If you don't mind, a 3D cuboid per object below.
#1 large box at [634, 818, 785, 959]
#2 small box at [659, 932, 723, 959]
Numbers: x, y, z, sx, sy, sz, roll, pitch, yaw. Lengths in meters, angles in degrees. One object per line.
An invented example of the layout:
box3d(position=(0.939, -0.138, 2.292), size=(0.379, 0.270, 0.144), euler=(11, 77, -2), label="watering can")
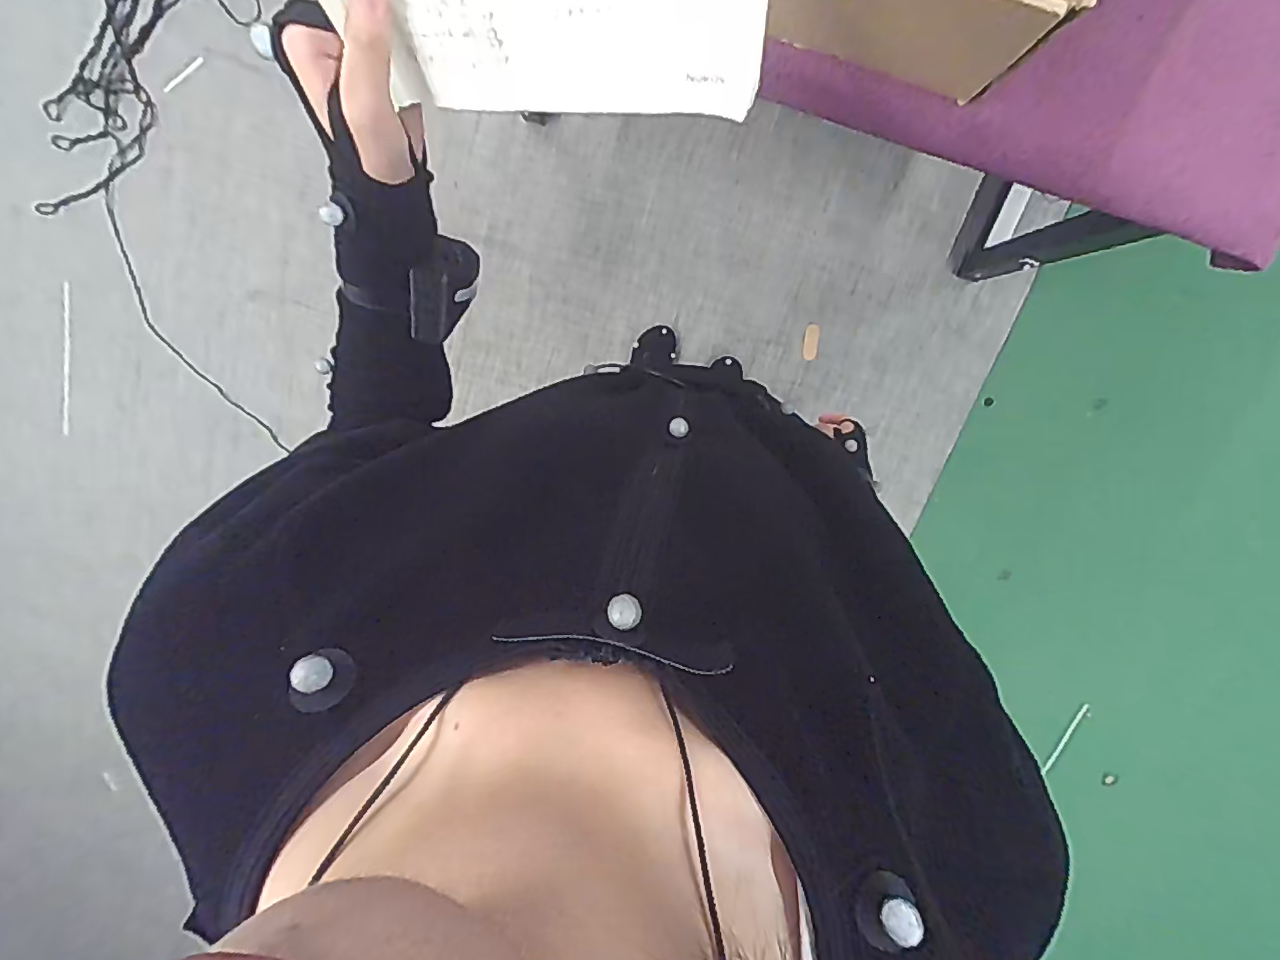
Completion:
box3d(position=(0.193, 1.286, 1.631), size=(0.408, 0.320, 0.320), euler=(5, 104, 4), label="large box")
box3d(position=(0.126, 1.322, 1.395), size=(0.168, 0.176, 0.179), euler=(6, 103, 5), label="small box")
